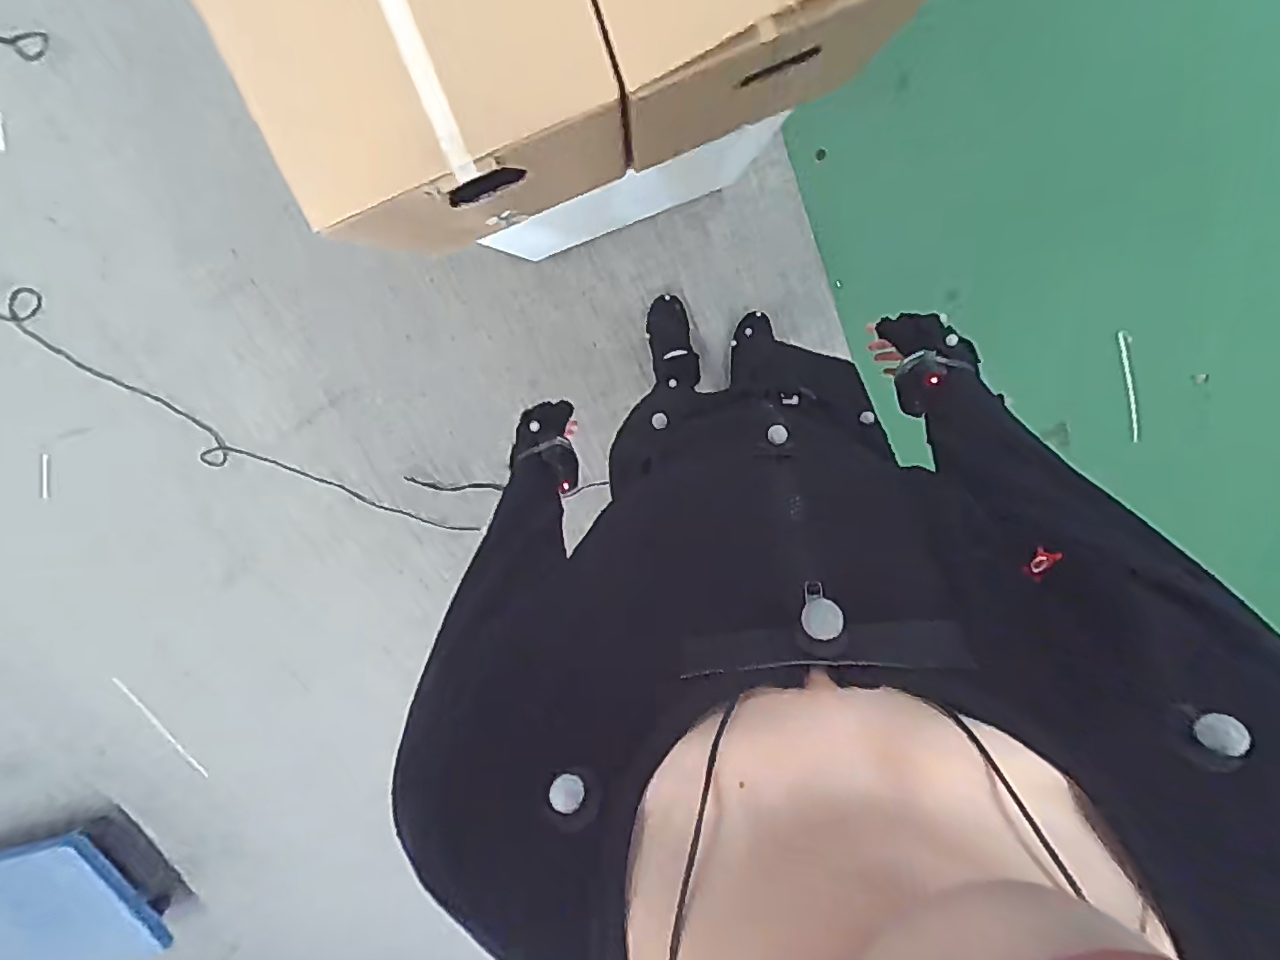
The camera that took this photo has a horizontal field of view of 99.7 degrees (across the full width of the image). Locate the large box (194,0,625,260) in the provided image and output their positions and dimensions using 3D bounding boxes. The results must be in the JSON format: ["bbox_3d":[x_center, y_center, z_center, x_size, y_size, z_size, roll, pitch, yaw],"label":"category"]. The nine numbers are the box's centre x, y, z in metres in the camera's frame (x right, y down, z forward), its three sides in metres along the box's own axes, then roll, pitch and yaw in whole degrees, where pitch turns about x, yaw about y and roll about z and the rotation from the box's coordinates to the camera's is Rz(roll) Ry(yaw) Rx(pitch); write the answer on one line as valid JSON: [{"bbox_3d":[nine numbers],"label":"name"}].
[{"bbox_3d":[-0.236,-0.506,0.585,0.320,0.320,0.408,-20,106,6],"label":"large box"}]
